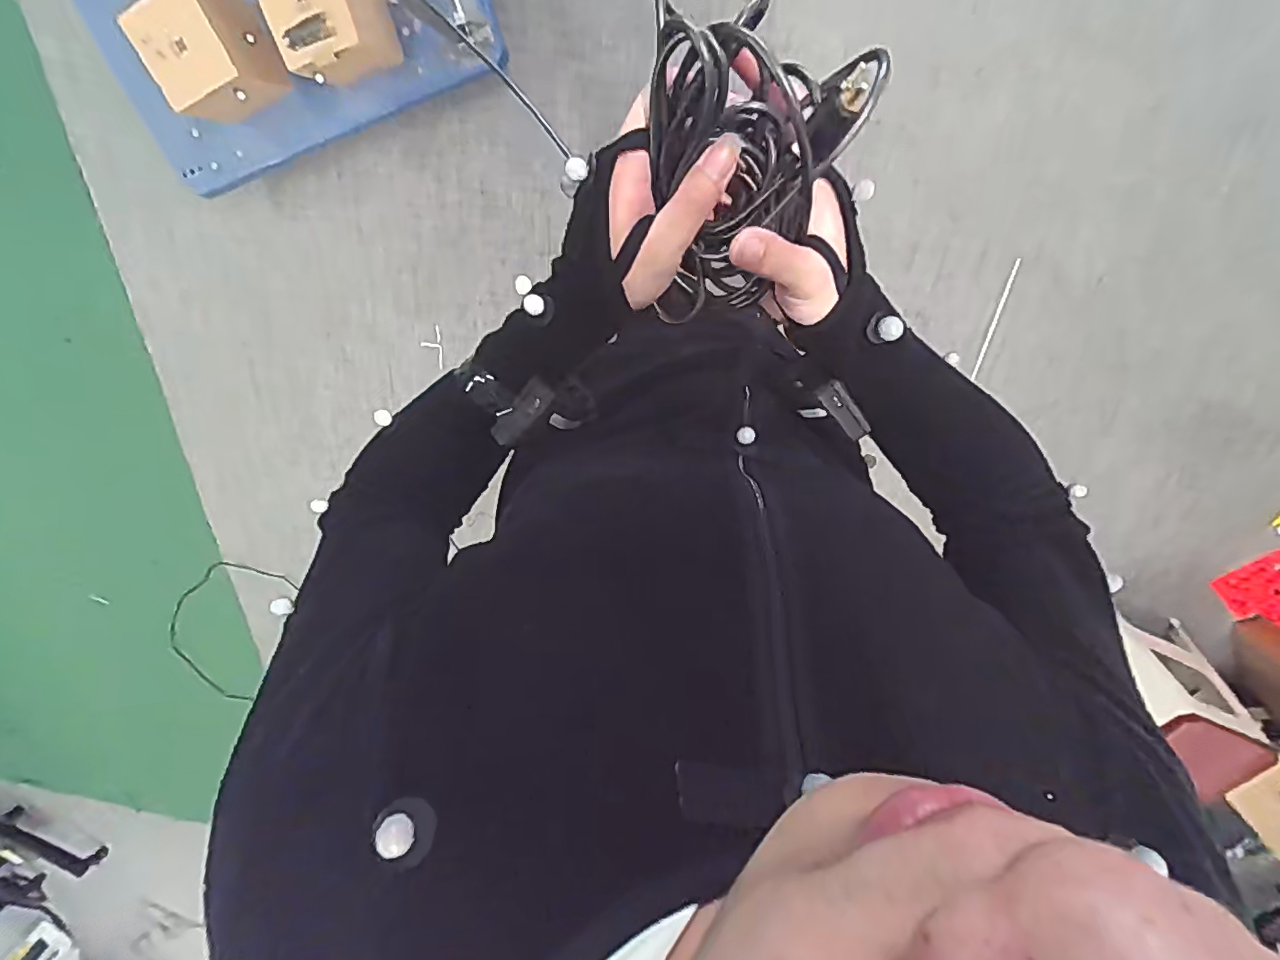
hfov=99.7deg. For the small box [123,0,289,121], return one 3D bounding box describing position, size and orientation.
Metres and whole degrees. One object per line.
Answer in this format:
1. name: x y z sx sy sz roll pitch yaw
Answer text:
1. small box: -0.863 -0.864 1.103 0.179 0.176 0.168 -16 114 15
